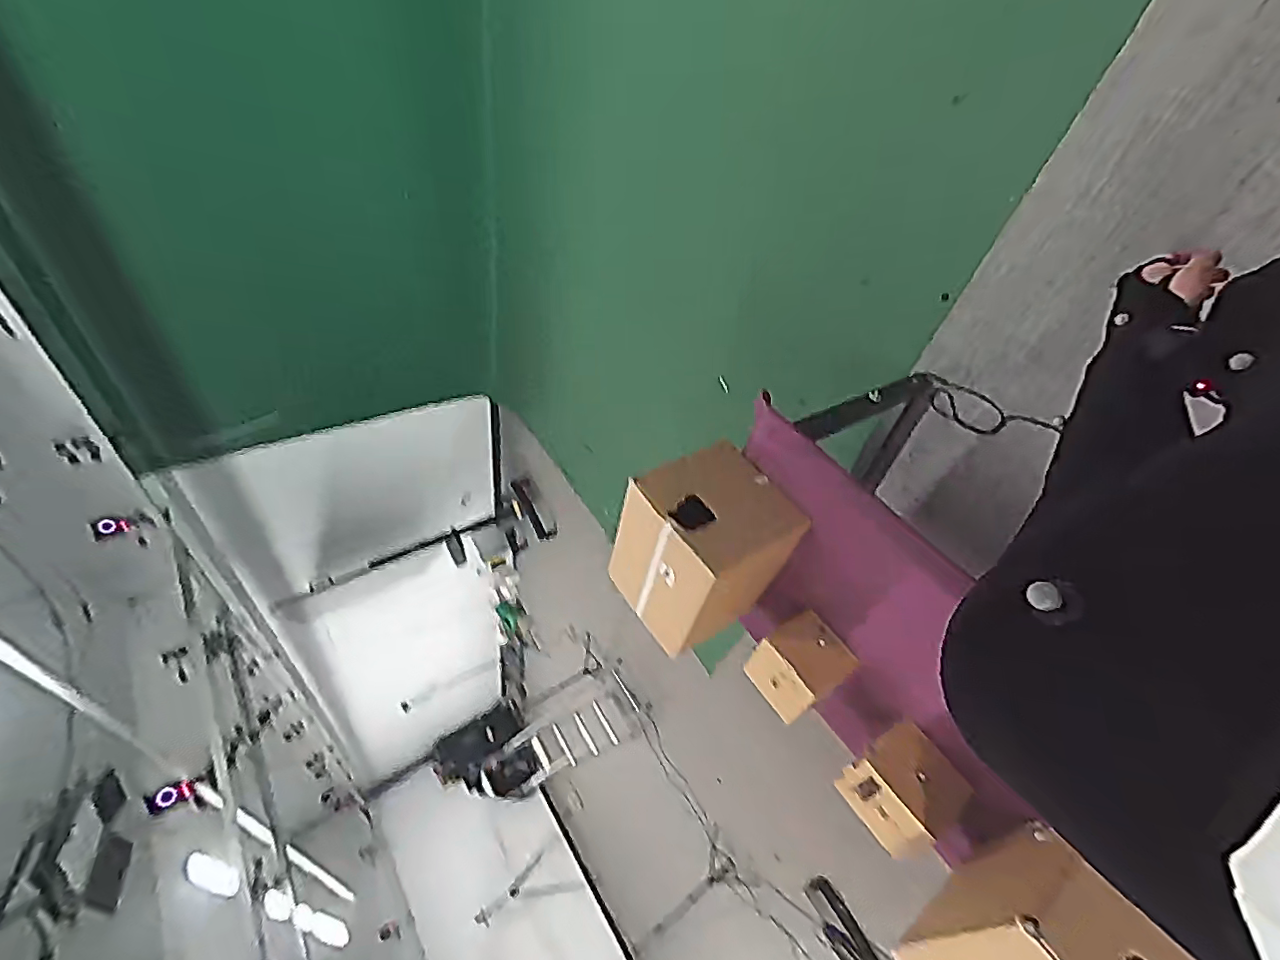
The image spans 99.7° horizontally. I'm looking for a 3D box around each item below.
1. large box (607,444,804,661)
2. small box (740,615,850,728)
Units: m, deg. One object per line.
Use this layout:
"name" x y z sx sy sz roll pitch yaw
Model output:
"large box" 0.147 0.183 1.388 0.320 0.320 0.408 48 143 29
"small box" 0.380 0.466 1.328 0.168 0.176 0.179 49 143 29
